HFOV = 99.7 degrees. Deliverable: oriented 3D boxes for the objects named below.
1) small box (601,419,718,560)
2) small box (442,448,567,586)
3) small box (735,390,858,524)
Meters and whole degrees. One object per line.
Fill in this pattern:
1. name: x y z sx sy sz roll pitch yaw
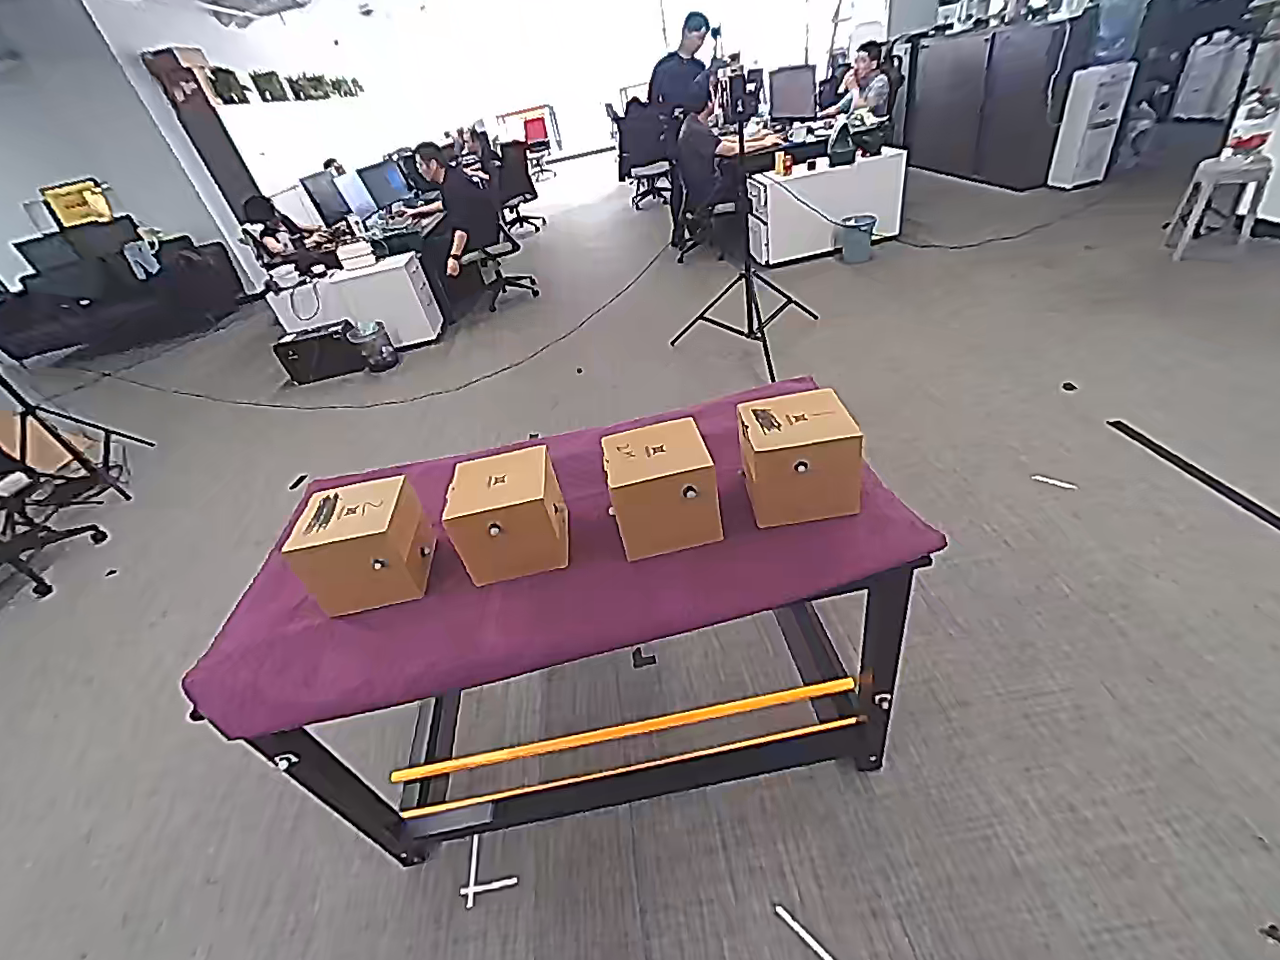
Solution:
1. small box: 0.037 0.018 0.971 0.179 0.176 0.168 -13 35 0
2. small box: -0.236 0.069 0.995 0.179 0.176 0.168 -13 37 1
3. small box: 0.276 -0.038 0.968 0.179 0.176 0.168 -9 36 5
